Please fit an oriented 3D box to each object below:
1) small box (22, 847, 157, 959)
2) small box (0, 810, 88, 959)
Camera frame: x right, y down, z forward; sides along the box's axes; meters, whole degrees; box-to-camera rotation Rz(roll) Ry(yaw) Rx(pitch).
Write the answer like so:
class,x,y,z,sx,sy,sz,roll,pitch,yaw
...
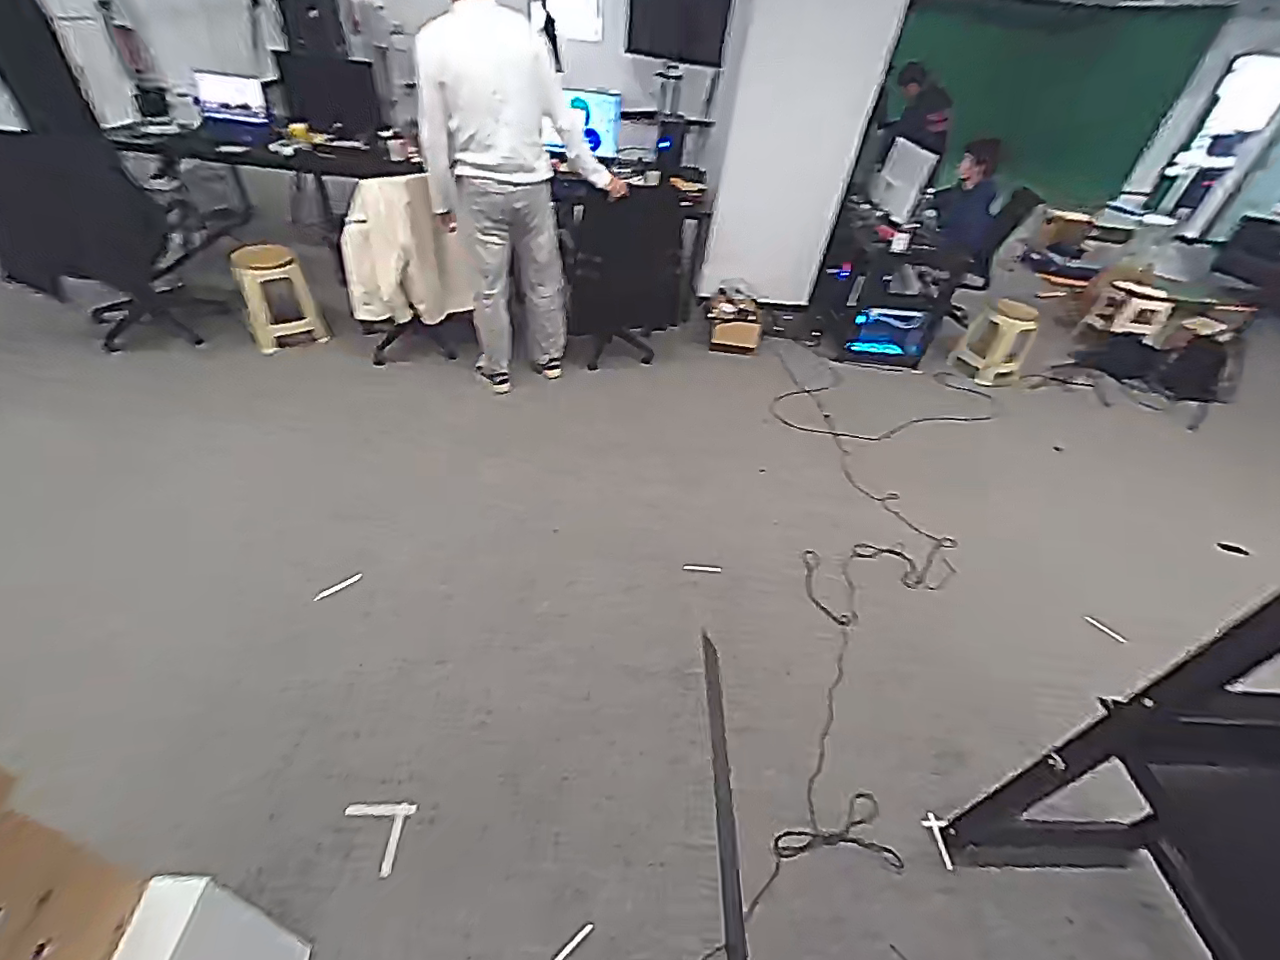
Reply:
class,x,y,z,sx,sy,sz,roll,pitch,yaw
small box,-0.786,0.583,0.682,0.179,0.176,0.168,2,43,-6
small box,-0.769,0.461,0.572,0.179,0.176,0.168,3,42,-5
